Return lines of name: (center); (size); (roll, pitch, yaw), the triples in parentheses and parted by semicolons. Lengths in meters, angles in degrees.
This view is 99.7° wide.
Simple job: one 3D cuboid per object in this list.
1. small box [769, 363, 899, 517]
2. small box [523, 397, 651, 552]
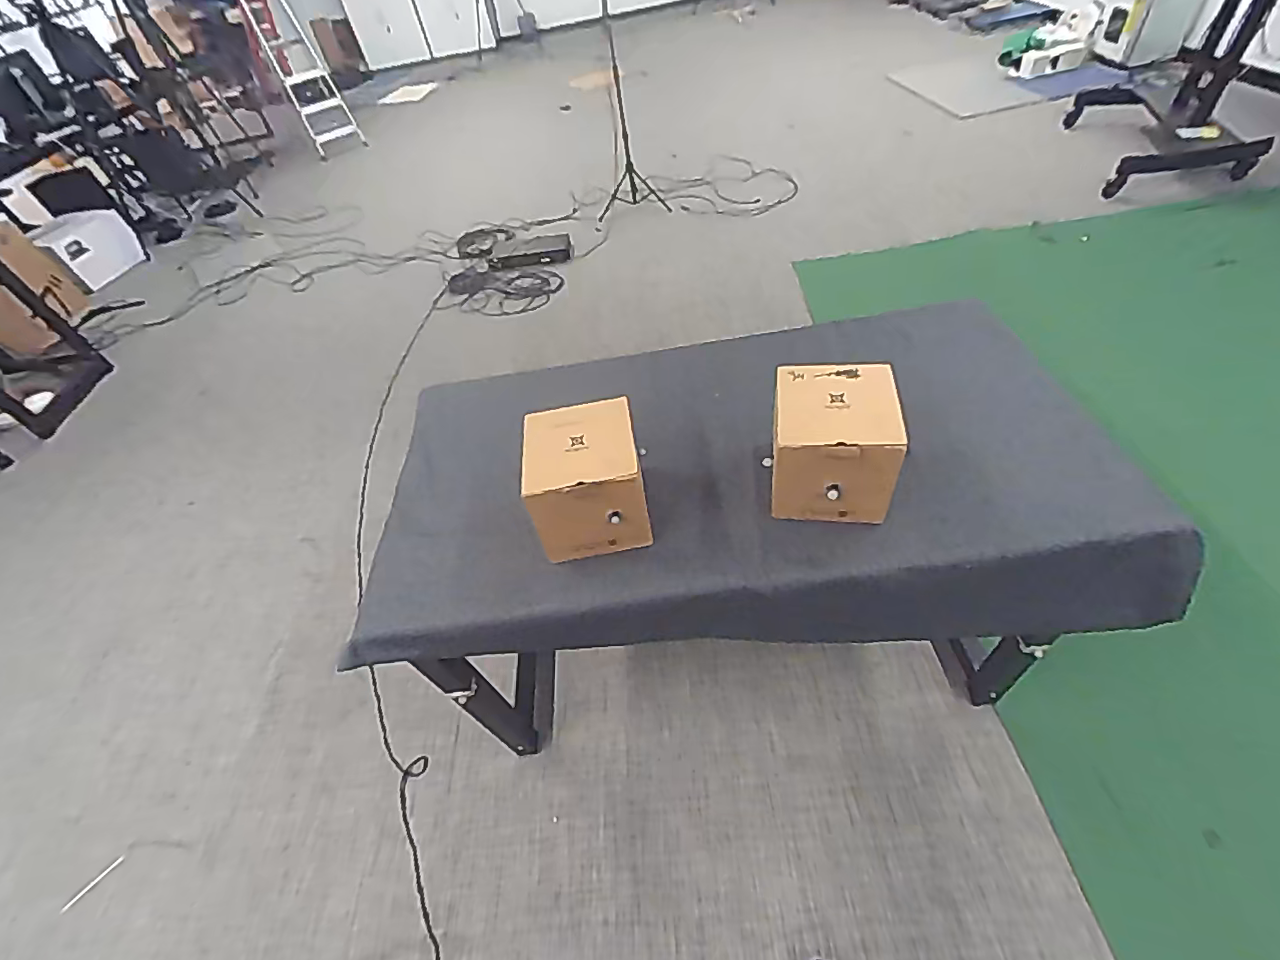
small box: (0.289, -0.059, 0.837); (0.168, 0.176, 0.179); (2, 50, 12)
small box: (-0.081, -0.002, 0.859); (0.168, 0.176, 0.179); (-10, 46, 0)
